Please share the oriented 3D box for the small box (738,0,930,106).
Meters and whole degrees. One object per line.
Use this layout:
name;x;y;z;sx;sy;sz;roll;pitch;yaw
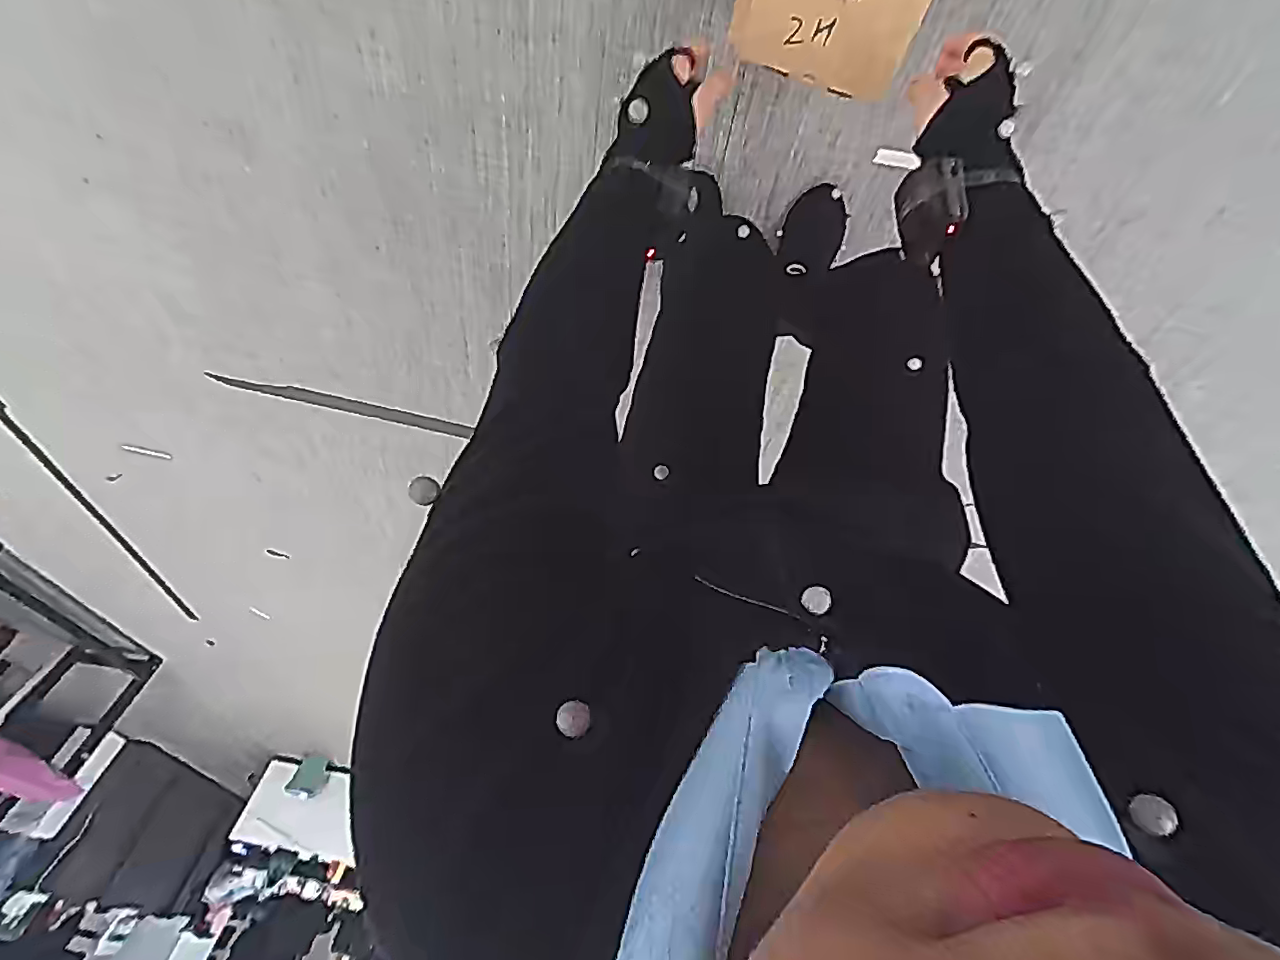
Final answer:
small box;0.210;-0.537;0.568;0.168;0.176;0.179;16;137;-4
